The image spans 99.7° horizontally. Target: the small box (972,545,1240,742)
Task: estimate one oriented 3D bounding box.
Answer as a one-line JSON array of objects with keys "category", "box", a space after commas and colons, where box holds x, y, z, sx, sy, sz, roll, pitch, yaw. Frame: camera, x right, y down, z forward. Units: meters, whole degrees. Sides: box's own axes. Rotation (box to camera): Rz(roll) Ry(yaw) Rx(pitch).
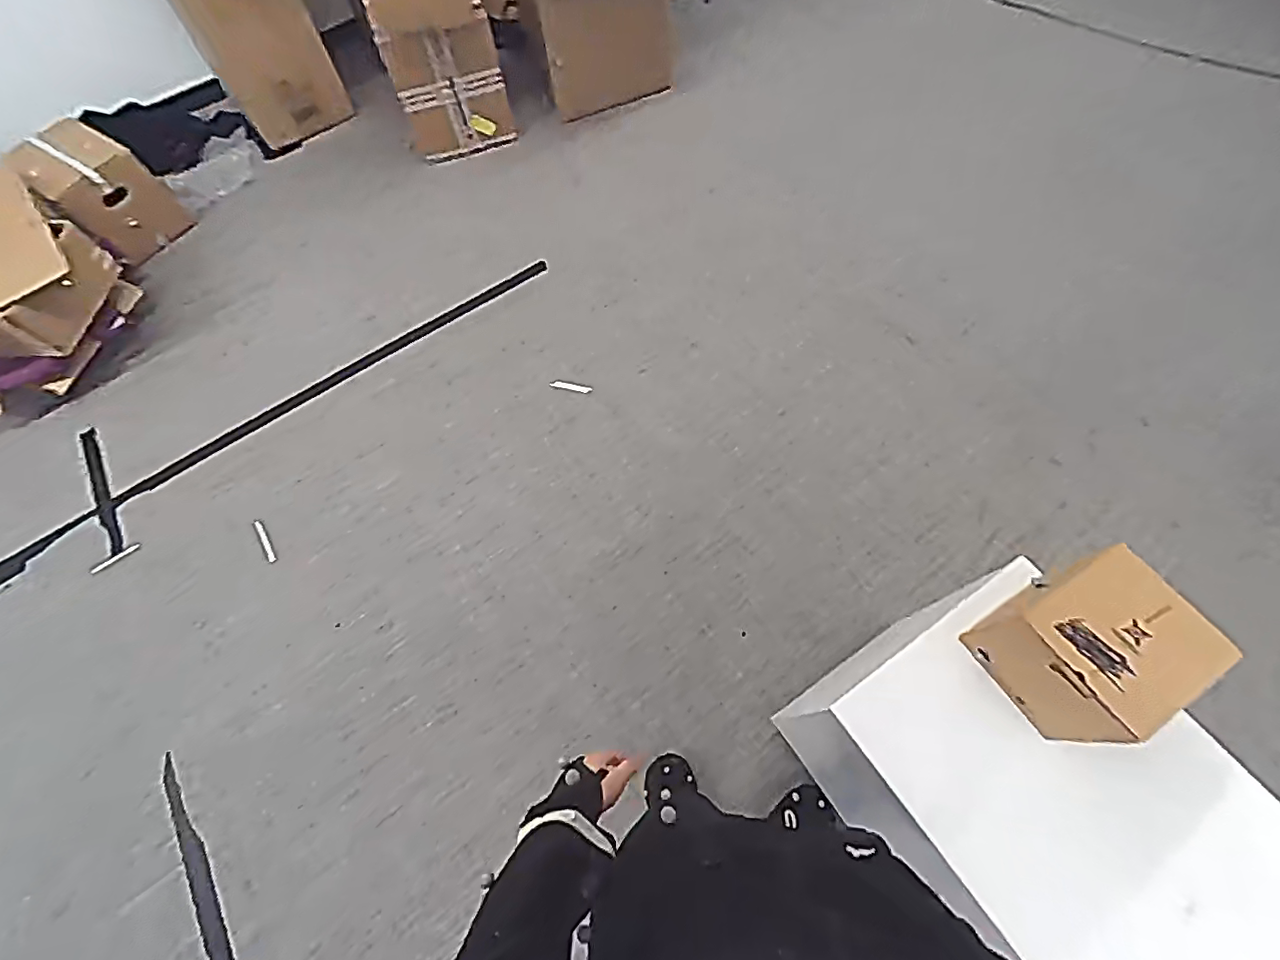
[{"category": "small box", "box": [0.576, 0.218, 0.704, 0.179, 0.176, 0.168, -31, 67, -10]}]
